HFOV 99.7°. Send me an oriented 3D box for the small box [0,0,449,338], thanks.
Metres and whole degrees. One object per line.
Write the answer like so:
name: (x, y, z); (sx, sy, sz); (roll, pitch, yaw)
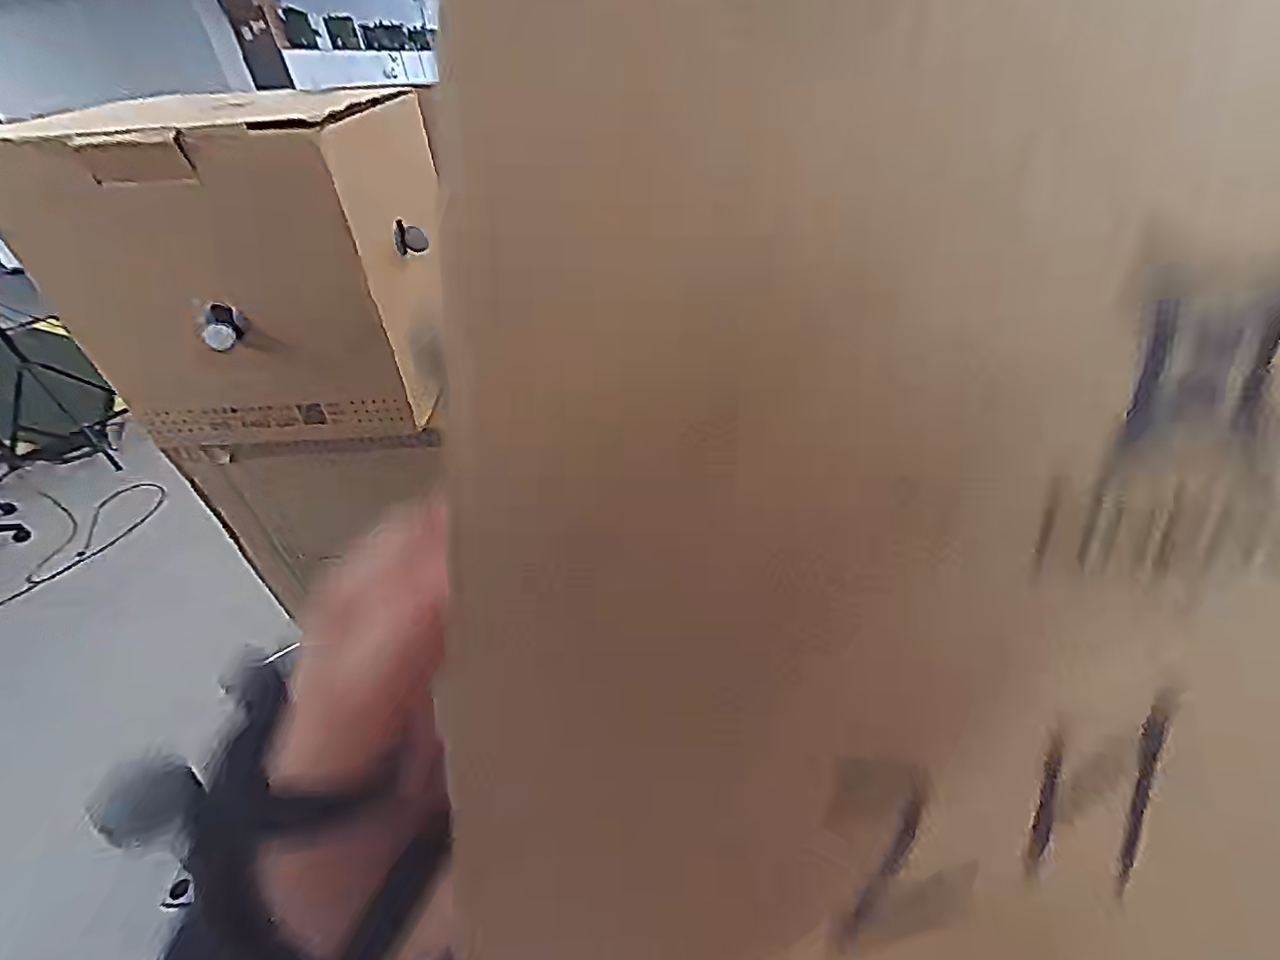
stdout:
small box: (-0.208, -0.181, 0.270); (0.168, 0.176, 0.179); (-4, 42, -3)
